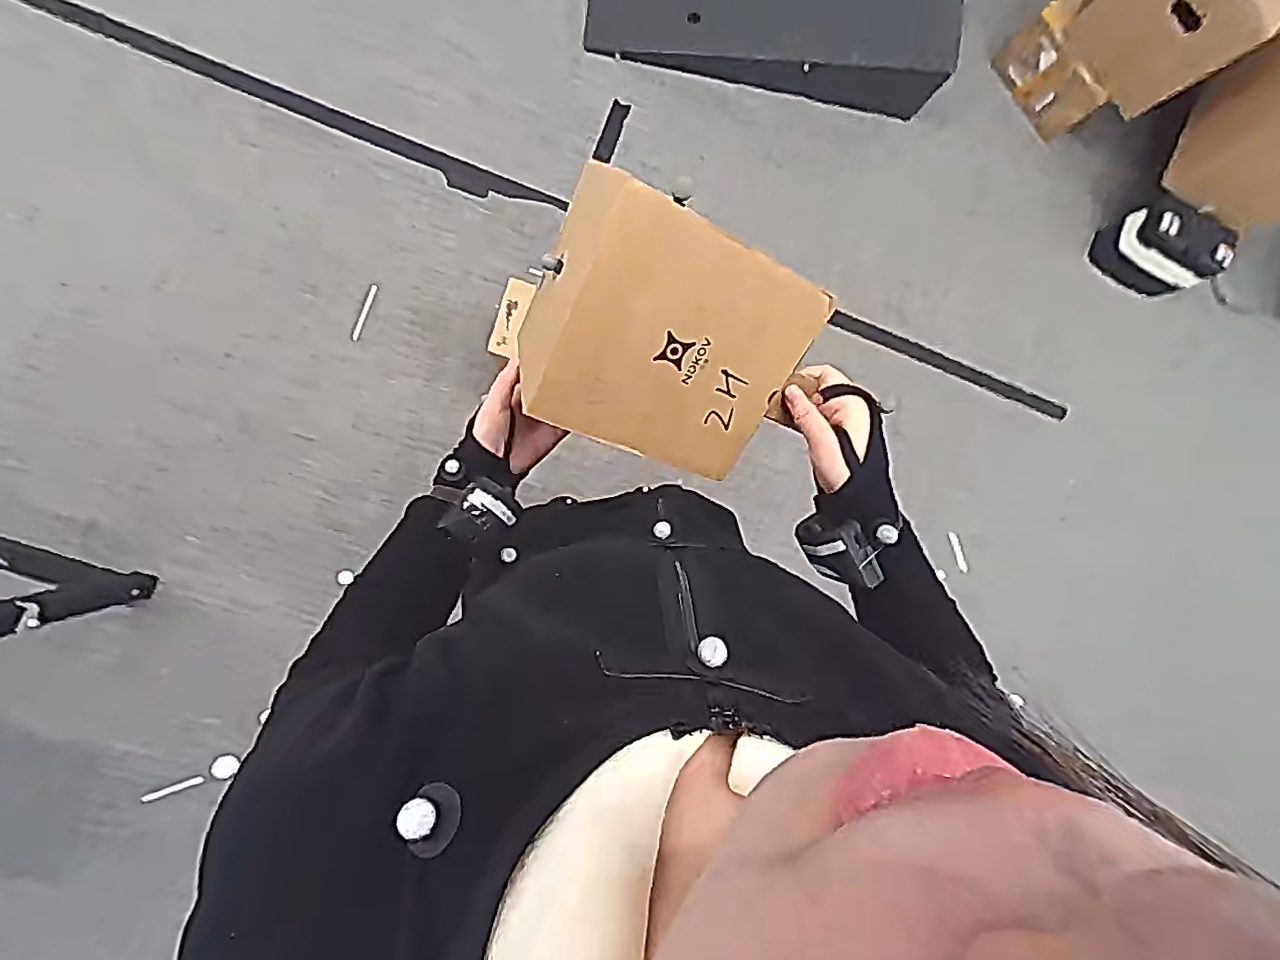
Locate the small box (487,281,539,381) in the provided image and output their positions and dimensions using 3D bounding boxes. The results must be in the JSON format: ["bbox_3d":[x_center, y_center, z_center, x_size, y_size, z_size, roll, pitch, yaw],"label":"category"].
[{"bbox_3d":[-0.224,-0.312,1.206,0.179,0.176,0.168,18,87,-9],"label":"small box"}]

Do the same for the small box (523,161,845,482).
[{"bbox_3d":[0.015,-0.129,0.435,0.179,0.176,0.168,18,116,-25],"label":"small box"}]
